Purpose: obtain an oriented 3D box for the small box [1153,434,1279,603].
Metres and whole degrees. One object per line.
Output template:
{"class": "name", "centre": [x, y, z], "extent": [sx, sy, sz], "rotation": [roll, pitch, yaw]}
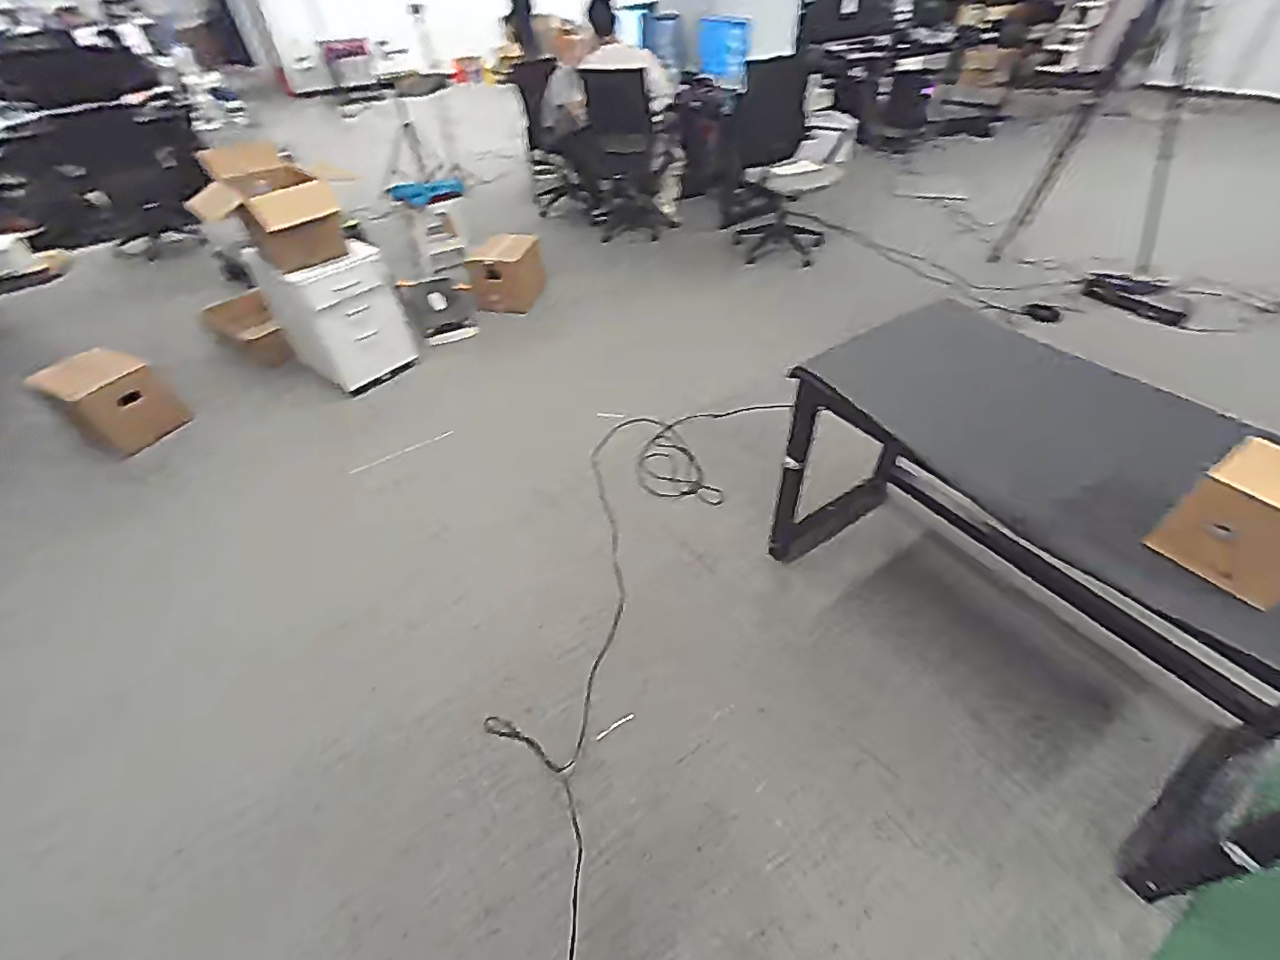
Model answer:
{"class": "small box", "centre": [0.976, 0.061, 0.853], "extent": [0.179, 0.176, 0.168], "rotation": [-24, 47, -23]}
